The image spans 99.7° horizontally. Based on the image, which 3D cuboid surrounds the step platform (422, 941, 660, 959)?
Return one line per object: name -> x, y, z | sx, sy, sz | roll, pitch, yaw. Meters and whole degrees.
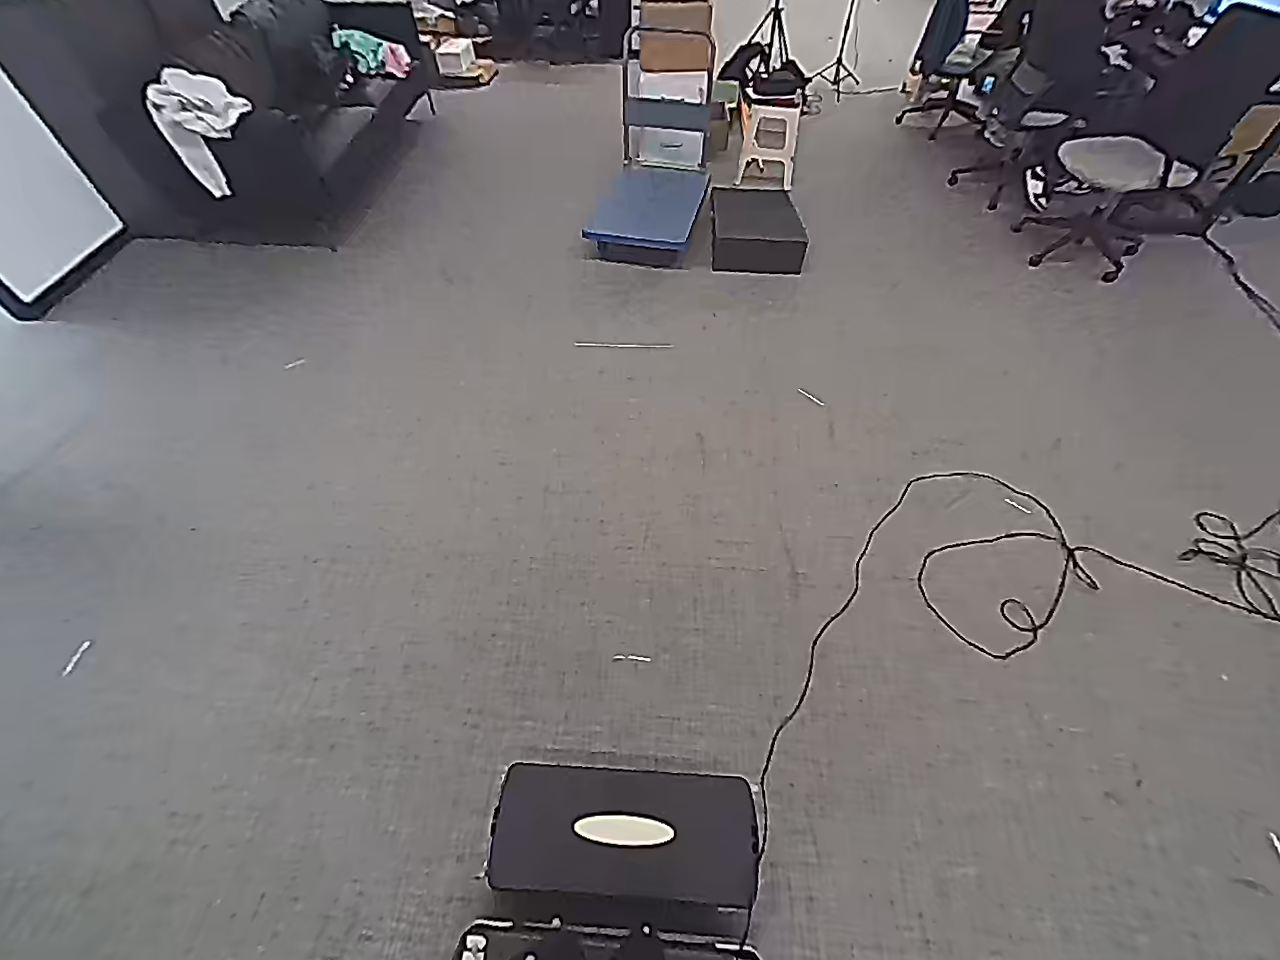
step platform -> -0.074, 1.019, 0.945 | 0.684, 0.204, 0.286 | 4, 52, 2
